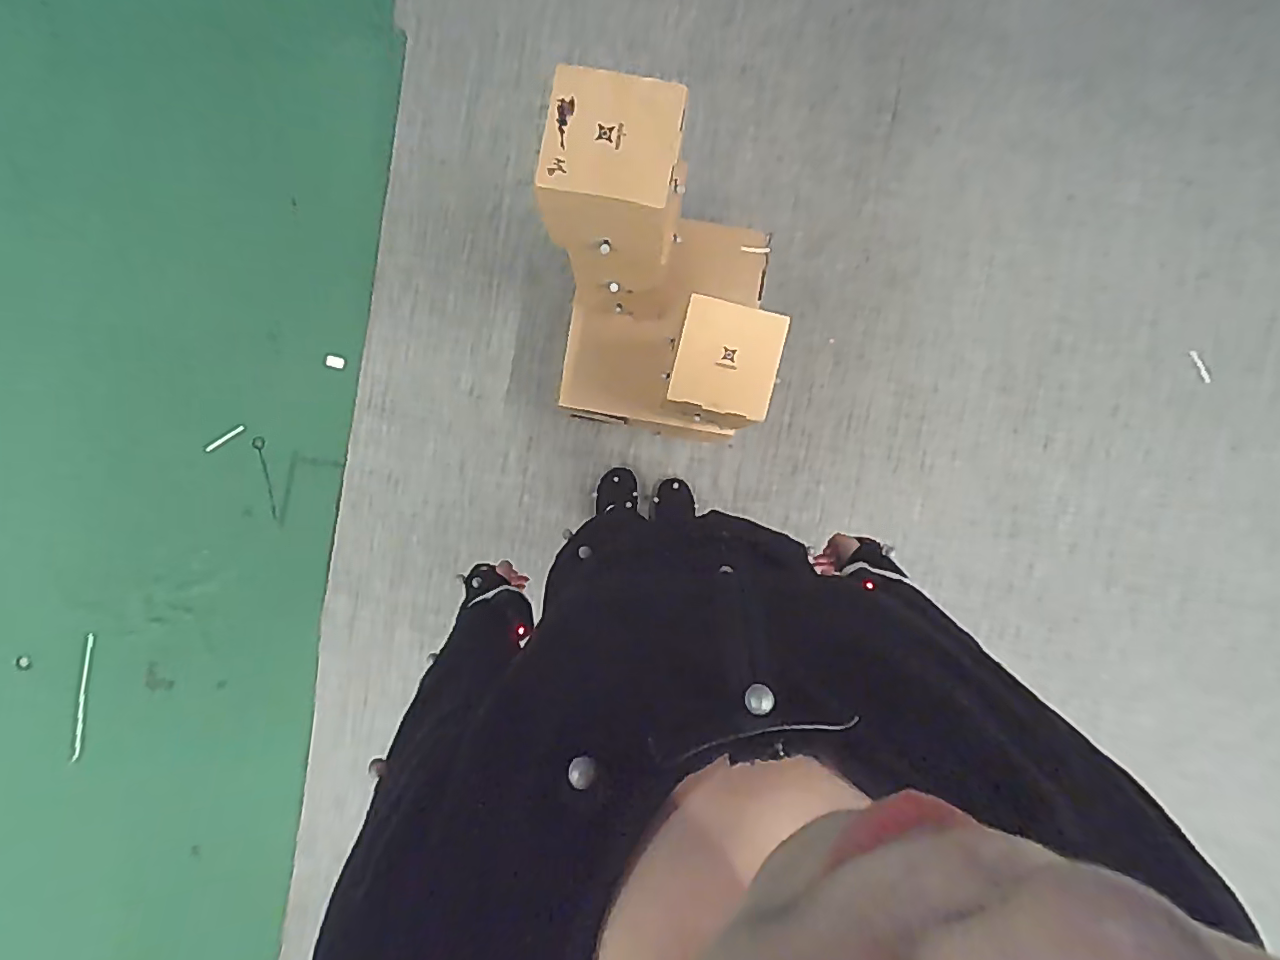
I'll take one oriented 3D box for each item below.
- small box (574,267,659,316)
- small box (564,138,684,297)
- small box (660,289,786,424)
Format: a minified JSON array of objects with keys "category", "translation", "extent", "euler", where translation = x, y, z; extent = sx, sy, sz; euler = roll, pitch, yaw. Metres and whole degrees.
[{"category":"small box","translation":[-0.032,-0.458,1.104],"extent":[0.168,0.176,0.179],"euler":[10,89,0]},{"category":"small box","translation":[-0.026,-0.444,0.939],"extent":[0.168,0.176,0.179],"euler":[12,89,0]},{"category":"small box","translation":[0.135,-0.205,0.945],"extent":[0.168,0.176,0.179],"euler":[13,91,-2]}]
